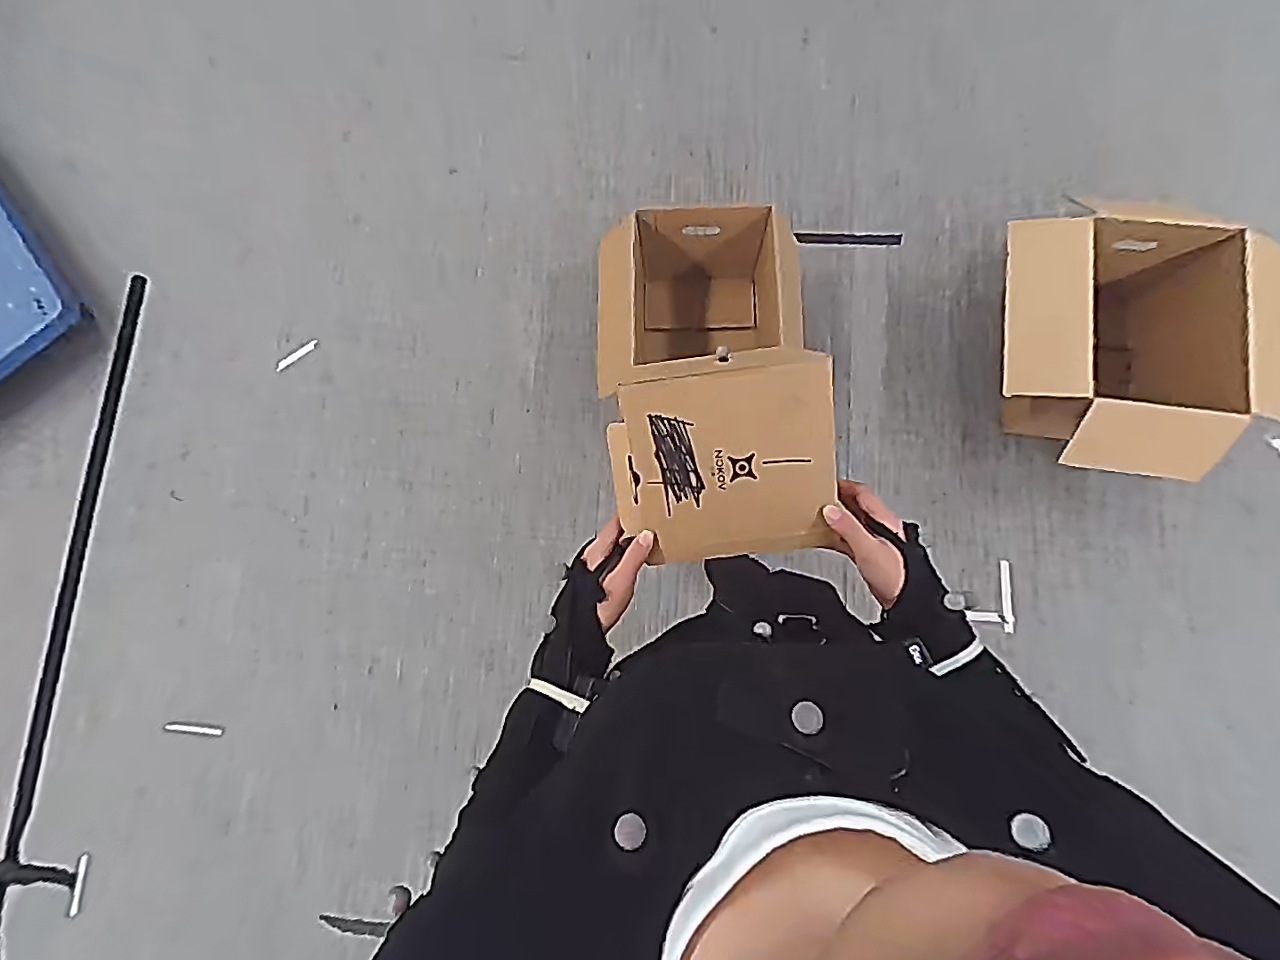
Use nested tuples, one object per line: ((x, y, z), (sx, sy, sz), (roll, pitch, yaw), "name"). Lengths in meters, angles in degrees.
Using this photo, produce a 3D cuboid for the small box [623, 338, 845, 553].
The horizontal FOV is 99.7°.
((0.086, -0.044, 0.529), (0.179, 0.176, 0.168), (-7, 107, 4), "small box")
